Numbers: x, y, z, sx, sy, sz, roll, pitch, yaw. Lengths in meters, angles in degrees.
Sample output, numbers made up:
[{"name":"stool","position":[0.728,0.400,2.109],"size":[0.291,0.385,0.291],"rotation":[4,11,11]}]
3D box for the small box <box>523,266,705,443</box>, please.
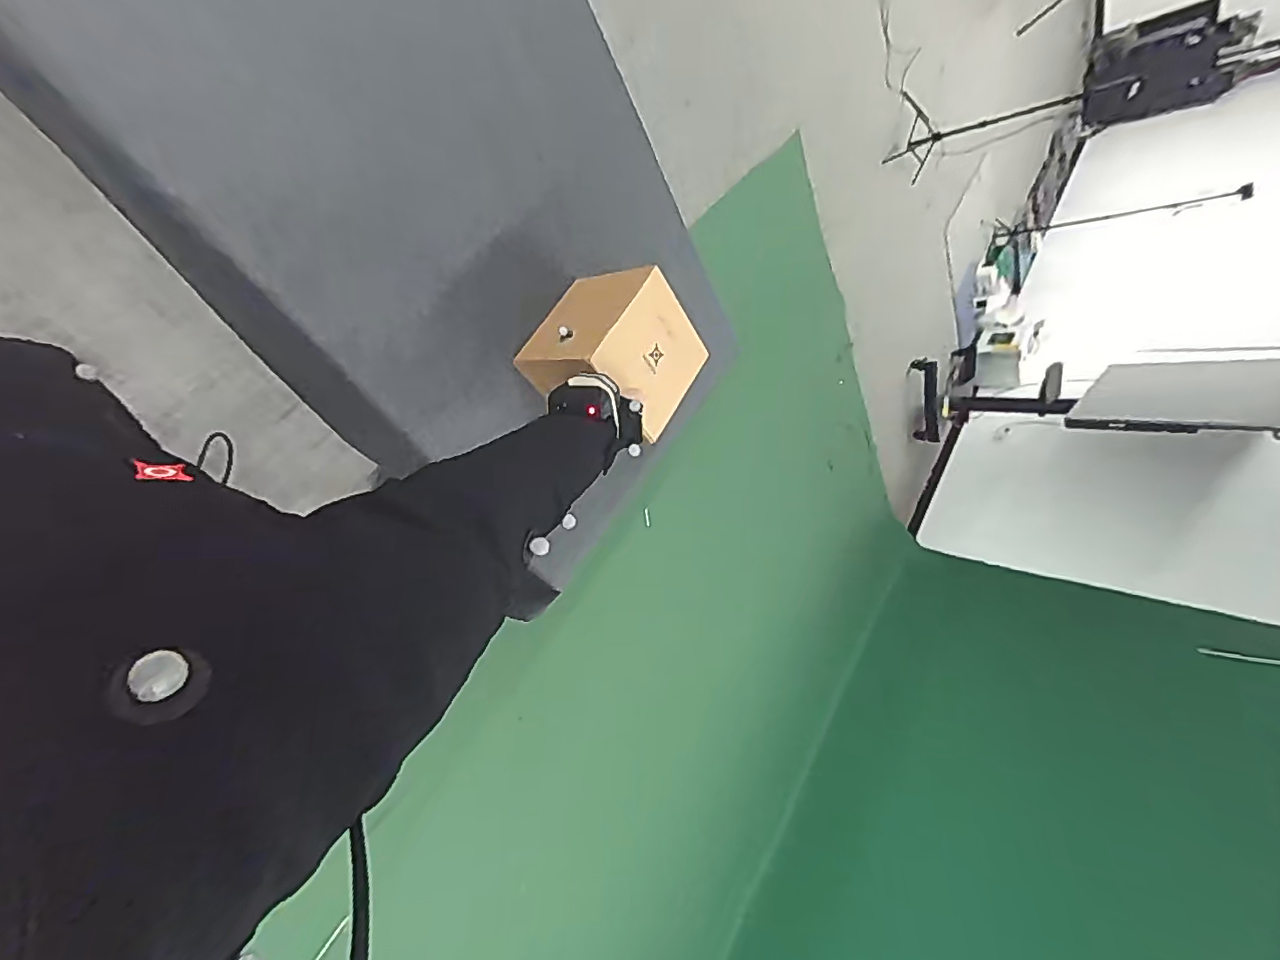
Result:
[{"name":"small box","position":[-0.041,-0.175,0.777],"size":[0.168,0.176,0.179],"rotation":[50,62,-41]}]
